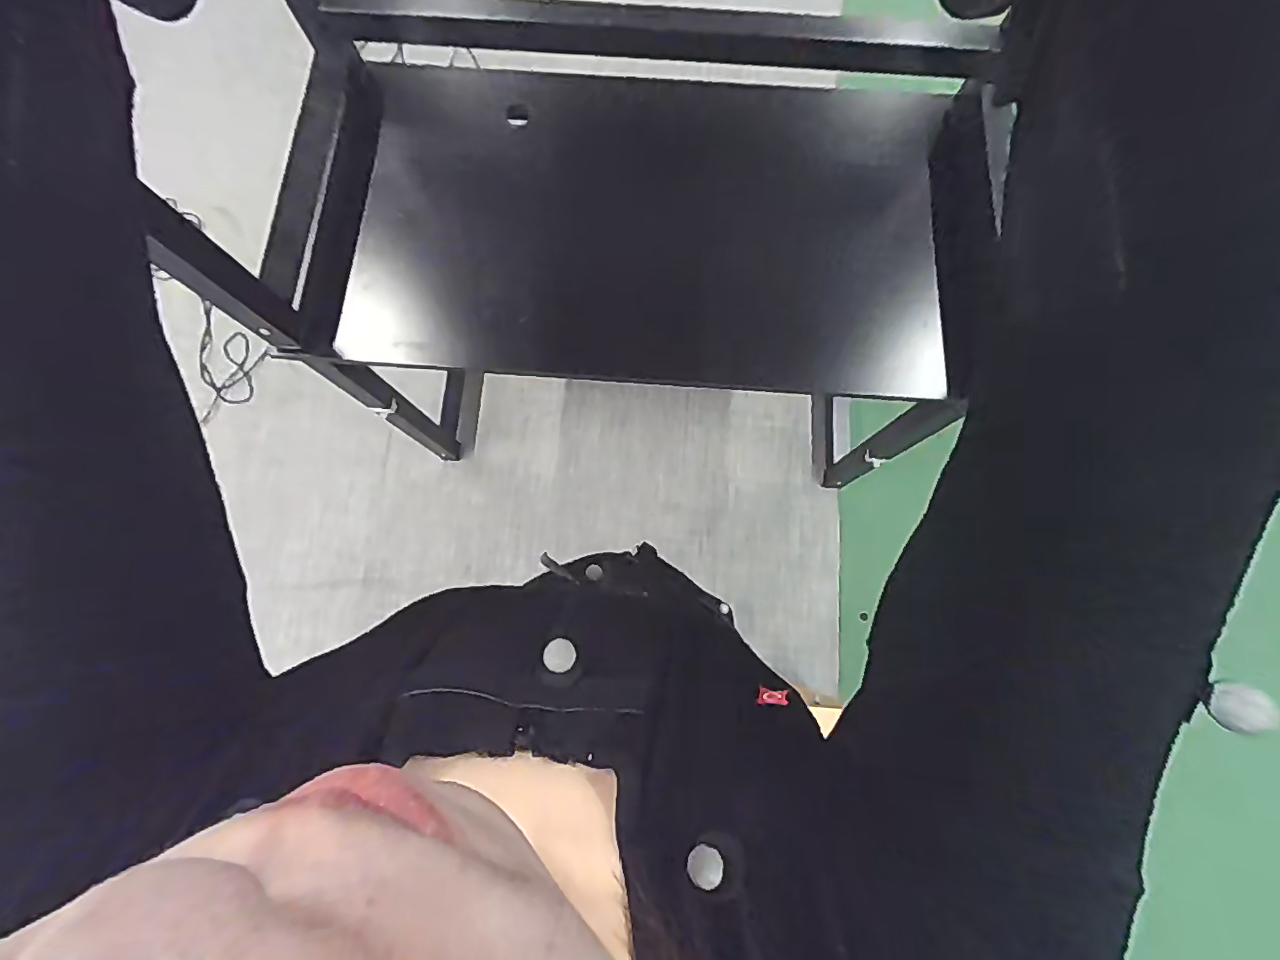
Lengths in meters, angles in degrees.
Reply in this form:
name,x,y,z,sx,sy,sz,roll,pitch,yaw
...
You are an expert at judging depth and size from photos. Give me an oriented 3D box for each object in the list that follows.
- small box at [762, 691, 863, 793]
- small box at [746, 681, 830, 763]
name,x,y,z,sx,sy,sz,roll,pitch,yaw
small box,0.371,0.566,1.190,0.179,0.176,0.168,4,77,0
small box,0.364,0.601,1.349,0.179,0.176,0.168,3,78,1
